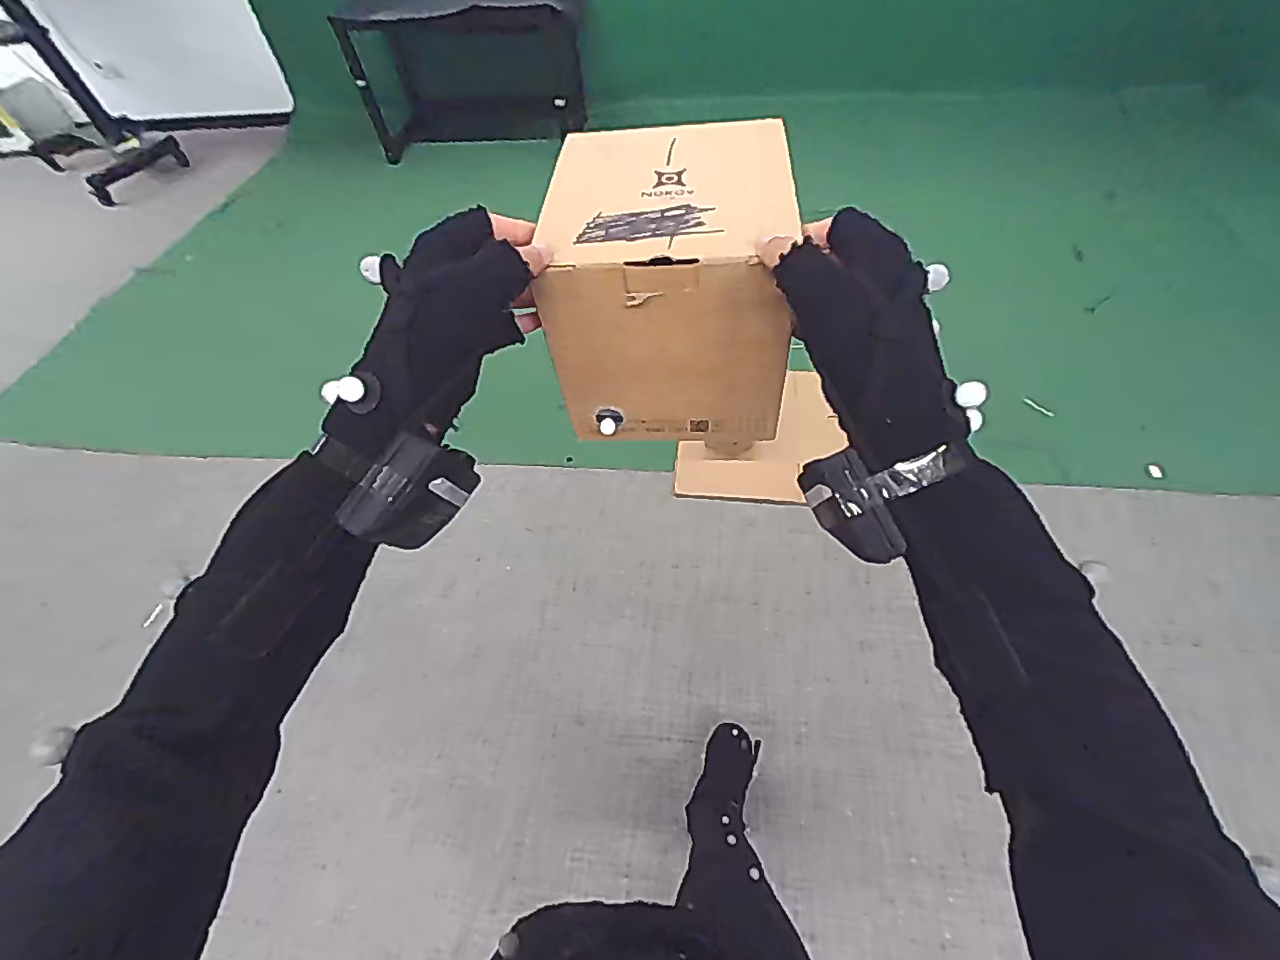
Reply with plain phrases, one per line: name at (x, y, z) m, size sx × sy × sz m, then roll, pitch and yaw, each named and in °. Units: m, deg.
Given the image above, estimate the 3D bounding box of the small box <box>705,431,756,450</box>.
small box at (0.308, -0.222, 1.825) m, size 0.168 × 0.176 × 0.179 m, roll 2°, pitch 53°, yaw 8°

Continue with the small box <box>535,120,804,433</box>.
small box at (0.031, -0.151, 0.430) m, size 0.168 × 0.176 × 0.179 m, roll 1°, pitch 55°, yaw 7°
